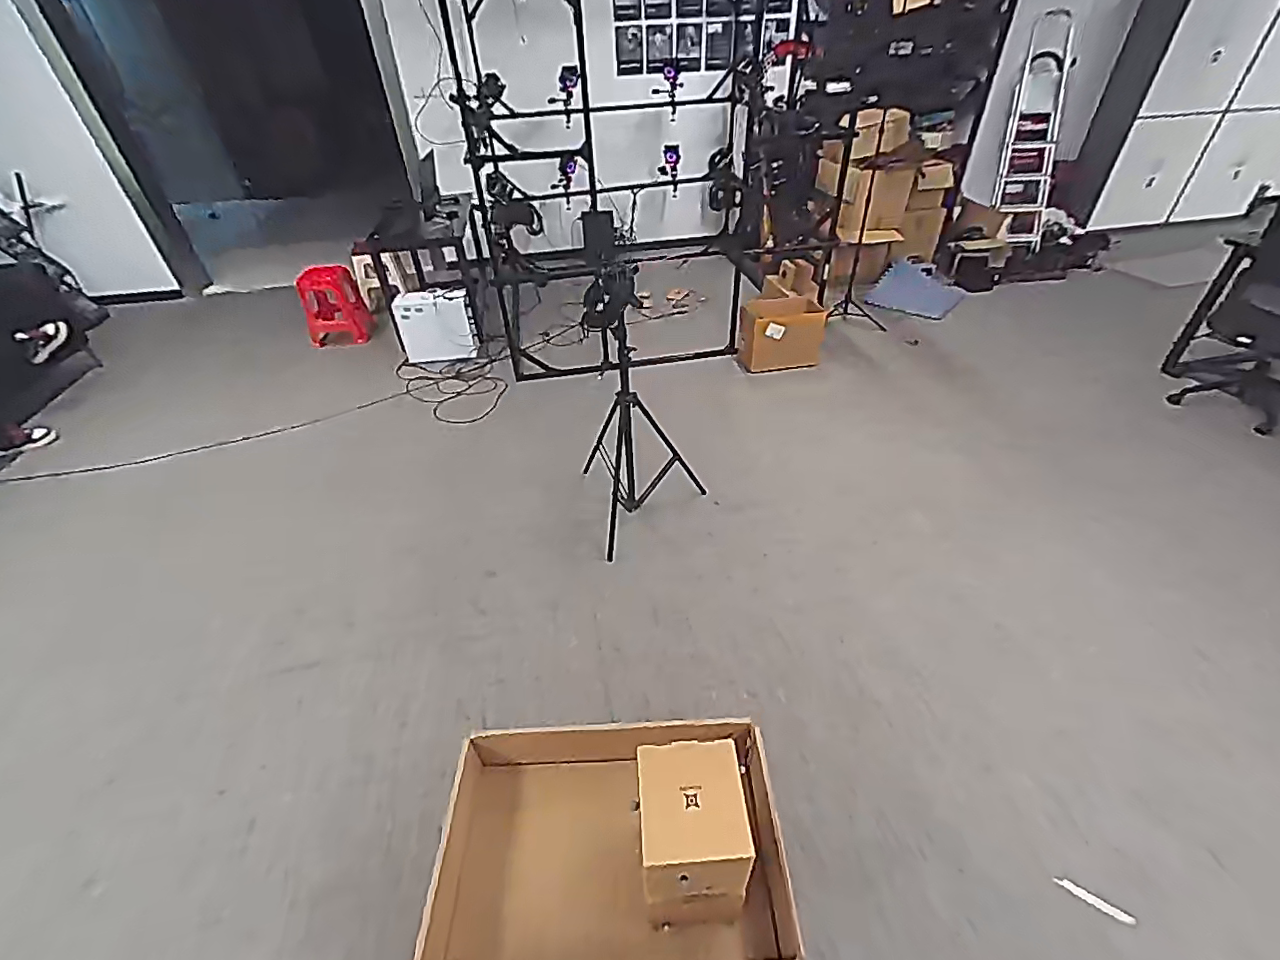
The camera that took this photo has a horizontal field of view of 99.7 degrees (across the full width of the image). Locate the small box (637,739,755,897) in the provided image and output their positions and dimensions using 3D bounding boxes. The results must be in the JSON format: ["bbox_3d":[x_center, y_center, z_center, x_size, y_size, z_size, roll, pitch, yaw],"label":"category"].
[{"bbox_3d":[0.085,0.552,0.881,0.168,0.176,0.179,-4,38,-1],"label":"small box"}]

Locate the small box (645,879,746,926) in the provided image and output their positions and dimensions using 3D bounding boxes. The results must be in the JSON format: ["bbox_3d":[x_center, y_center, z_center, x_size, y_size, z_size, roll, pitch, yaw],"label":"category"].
[{"bbox_3d":[0.091,0.681,0.981,0.168,0.176,0.179,-4,38,-2],"label":"small box"}]
